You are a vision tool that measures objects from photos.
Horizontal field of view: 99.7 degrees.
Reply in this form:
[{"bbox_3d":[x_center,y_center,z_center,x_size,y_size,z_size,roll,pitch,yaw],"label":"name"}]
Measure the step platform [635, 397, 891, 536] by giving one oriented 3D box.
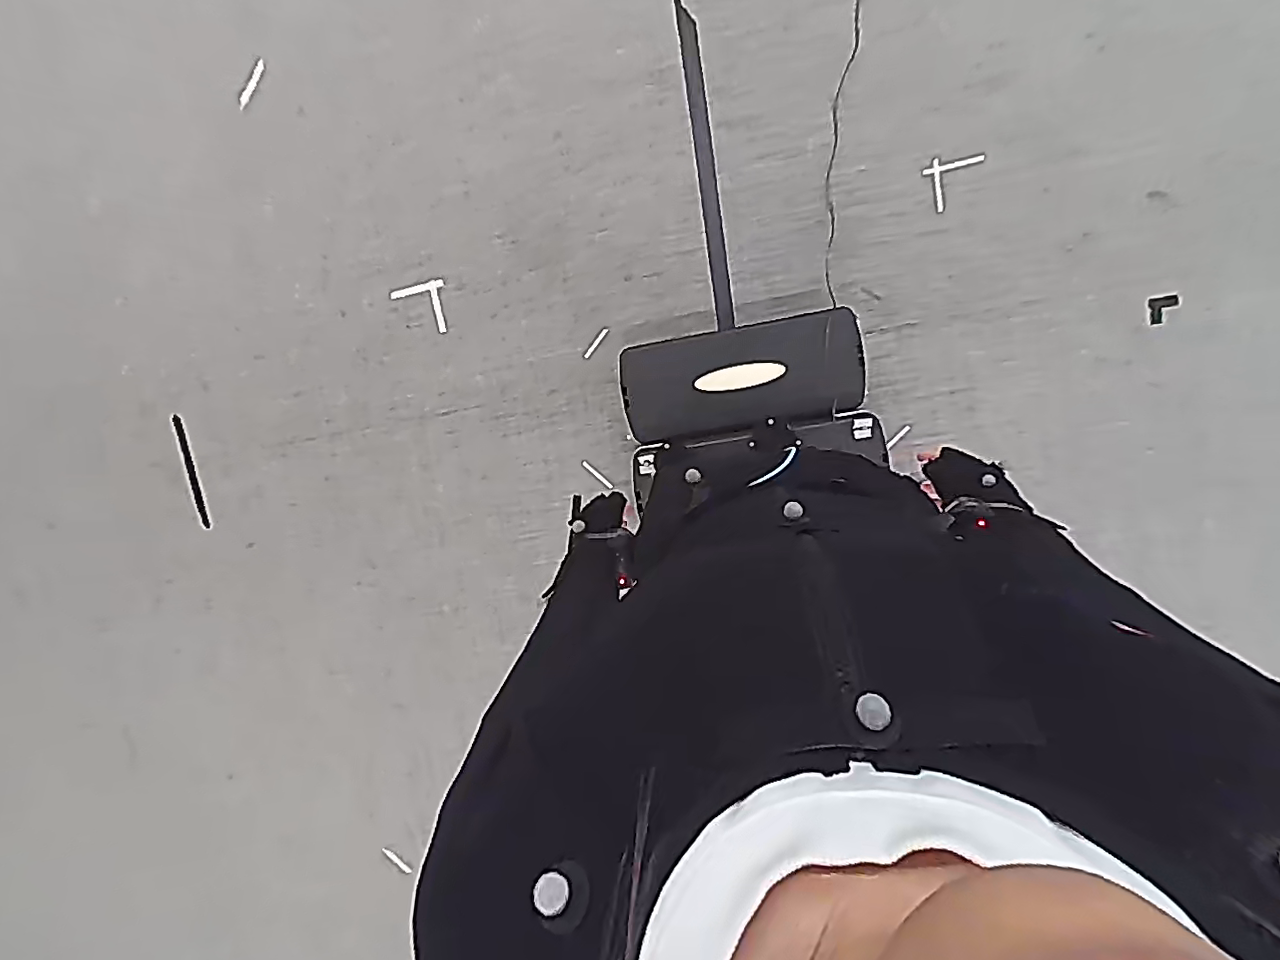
[{"bbox_3d":[0.328,-0.035,1.516,0.684,0.204,0.286,-10,95,9],"label":"step platform"}]
